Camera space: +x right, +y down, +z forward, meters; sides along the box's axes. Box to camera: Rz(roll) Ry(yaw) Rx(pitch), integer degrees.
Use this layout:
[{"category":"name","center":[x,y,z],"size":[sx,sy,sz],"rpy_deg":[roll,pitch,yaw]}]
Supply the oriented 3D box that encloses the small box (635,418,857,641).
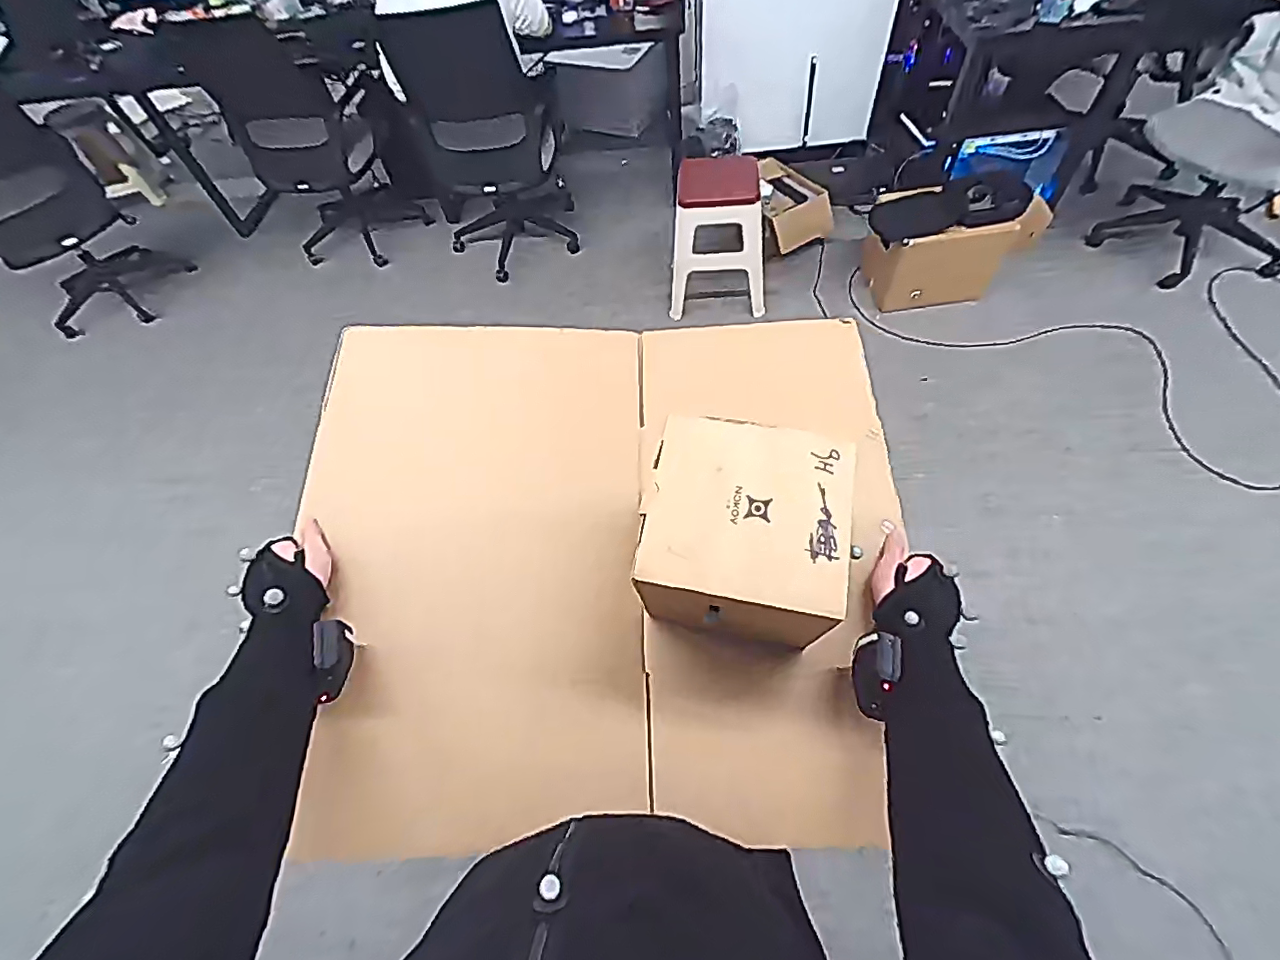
[{"category":"small box","center":[0.106,0.058,0.550],"size":[0.179,0.176,0.168],"rpy_deg":[9,67,11]}]
